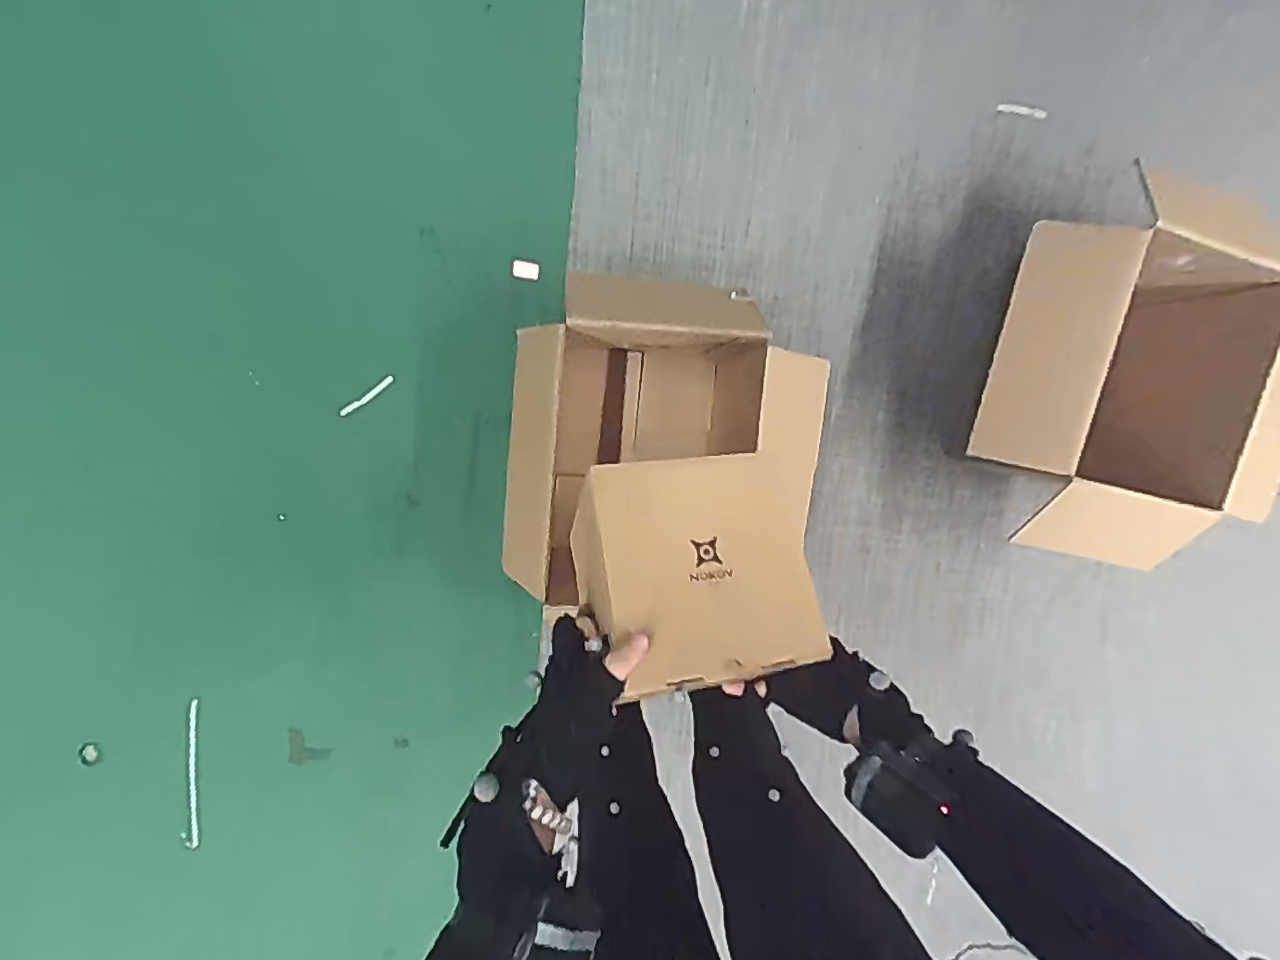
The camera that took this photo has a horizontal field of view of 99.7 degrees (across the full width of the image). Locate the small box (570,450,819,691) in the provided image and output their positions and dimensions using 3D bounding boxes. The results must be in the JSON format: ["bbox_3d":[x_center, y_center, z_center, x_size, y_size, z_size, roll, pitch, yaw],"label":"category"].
[{"bbox_3d":[0.031,0.089,0.506,0.168,0.176,0.179,-6,69,-15],"label":"small box"}]
